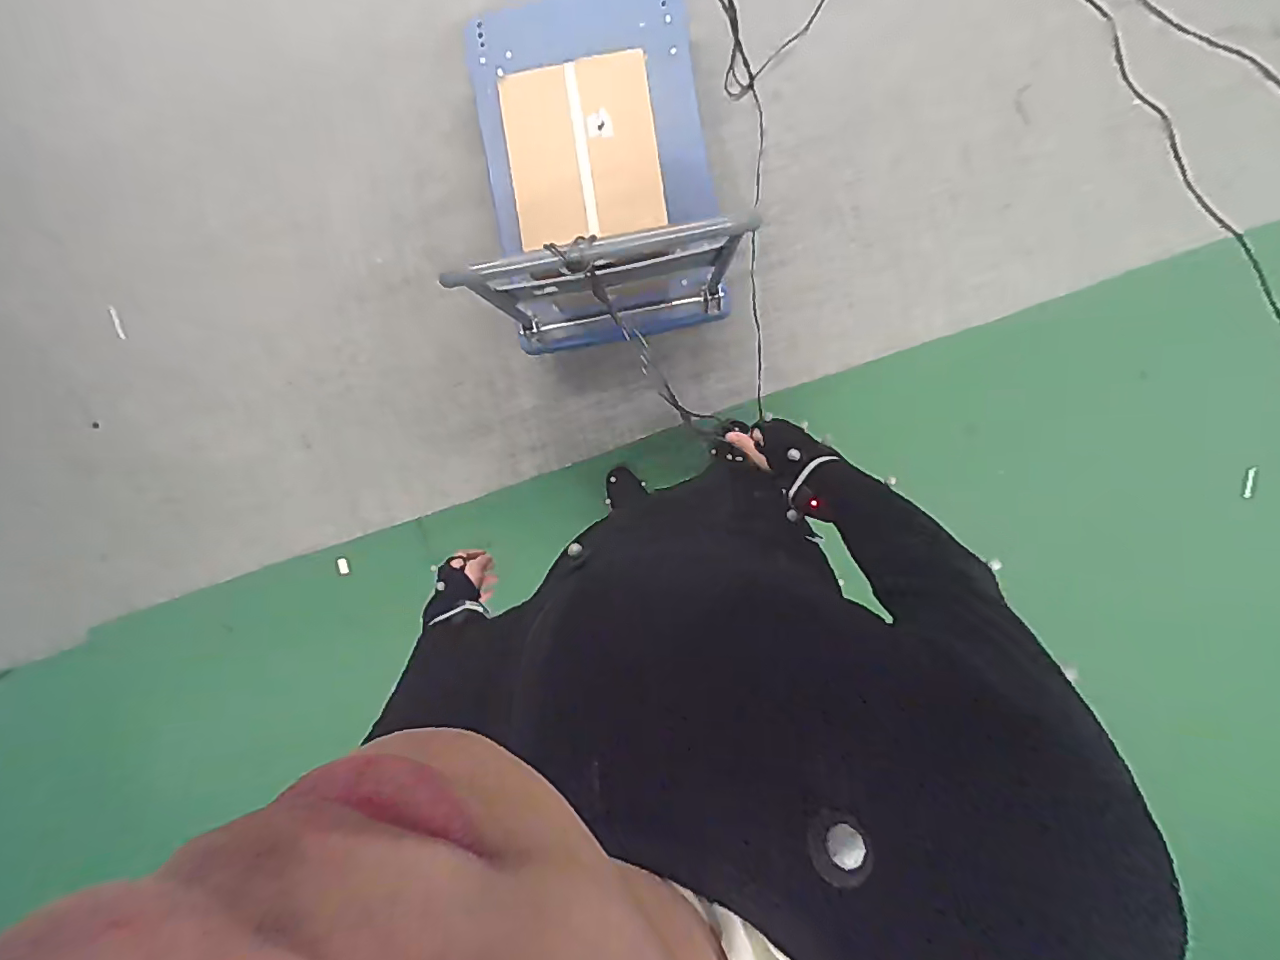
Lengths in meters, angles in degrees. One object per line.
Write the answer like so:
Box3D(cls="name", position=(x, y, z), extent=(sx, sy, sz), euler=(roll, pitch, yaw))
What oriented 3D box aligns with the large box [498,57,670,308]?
Box3D(cls="large box", position=(-0.110, -0.668, 1.286), extent=(0.320, 0.320, 0.408), euler=(-8, 92, 3))
